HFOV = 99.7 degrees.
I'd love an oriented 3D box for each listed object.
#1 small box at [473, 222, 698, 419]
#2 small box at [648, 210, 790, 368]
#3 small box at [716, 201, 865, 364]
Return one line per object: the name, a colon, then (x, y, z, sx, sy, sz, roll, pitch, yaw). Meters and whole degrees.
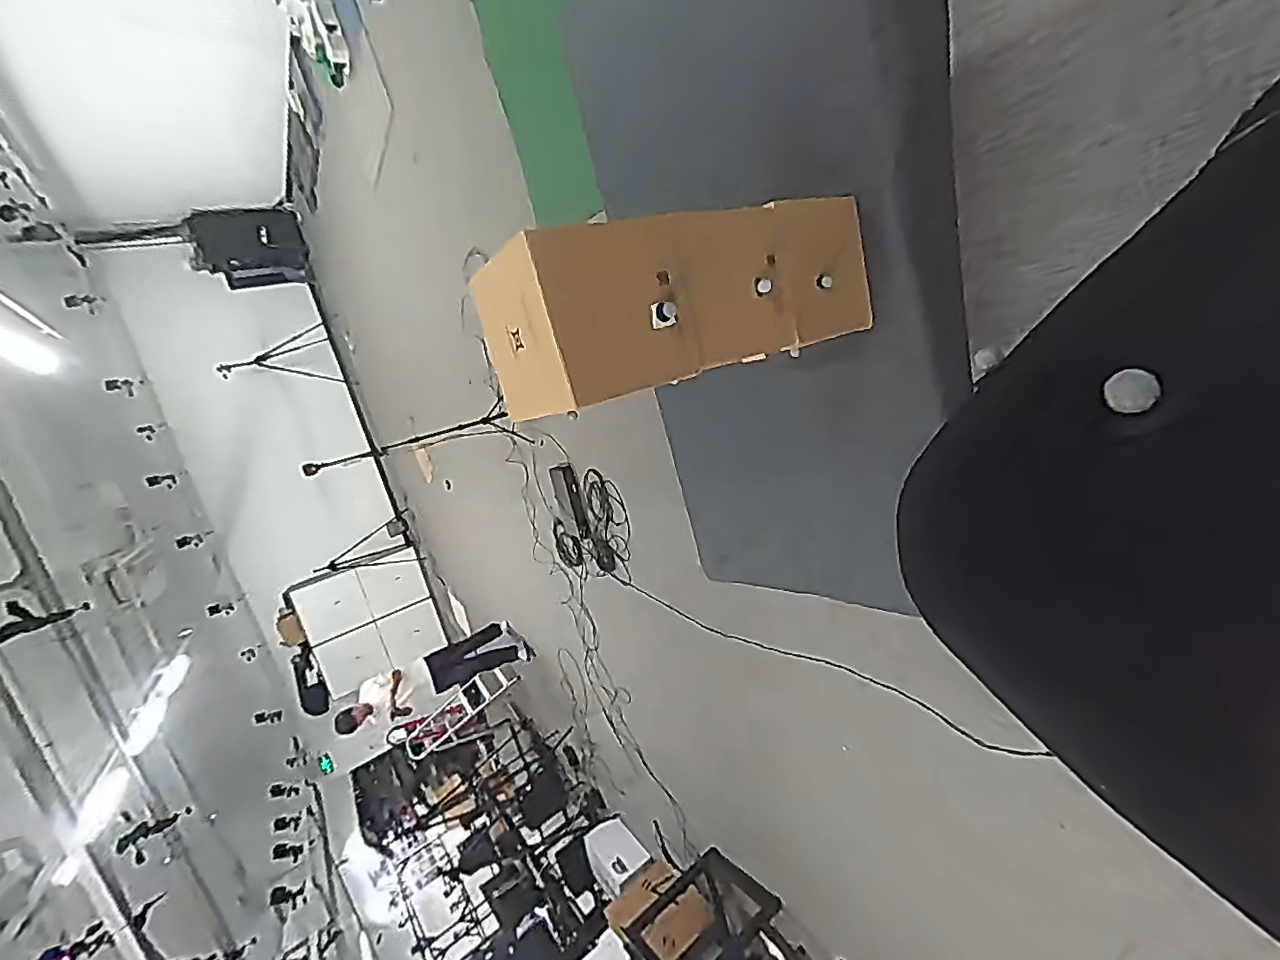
small box: (-0.062, -0.174, 0.613, 0.179, 0.176, 0.168, 1, 110, 57)
small box: (0.062, -0.230, 0.700, 0.179, 0.176, 0.168, 2, 110, 59)
small box: (0.199, -0.279, 0.776, 0.168, 0.176, 0.179, 5, 113, 56)
